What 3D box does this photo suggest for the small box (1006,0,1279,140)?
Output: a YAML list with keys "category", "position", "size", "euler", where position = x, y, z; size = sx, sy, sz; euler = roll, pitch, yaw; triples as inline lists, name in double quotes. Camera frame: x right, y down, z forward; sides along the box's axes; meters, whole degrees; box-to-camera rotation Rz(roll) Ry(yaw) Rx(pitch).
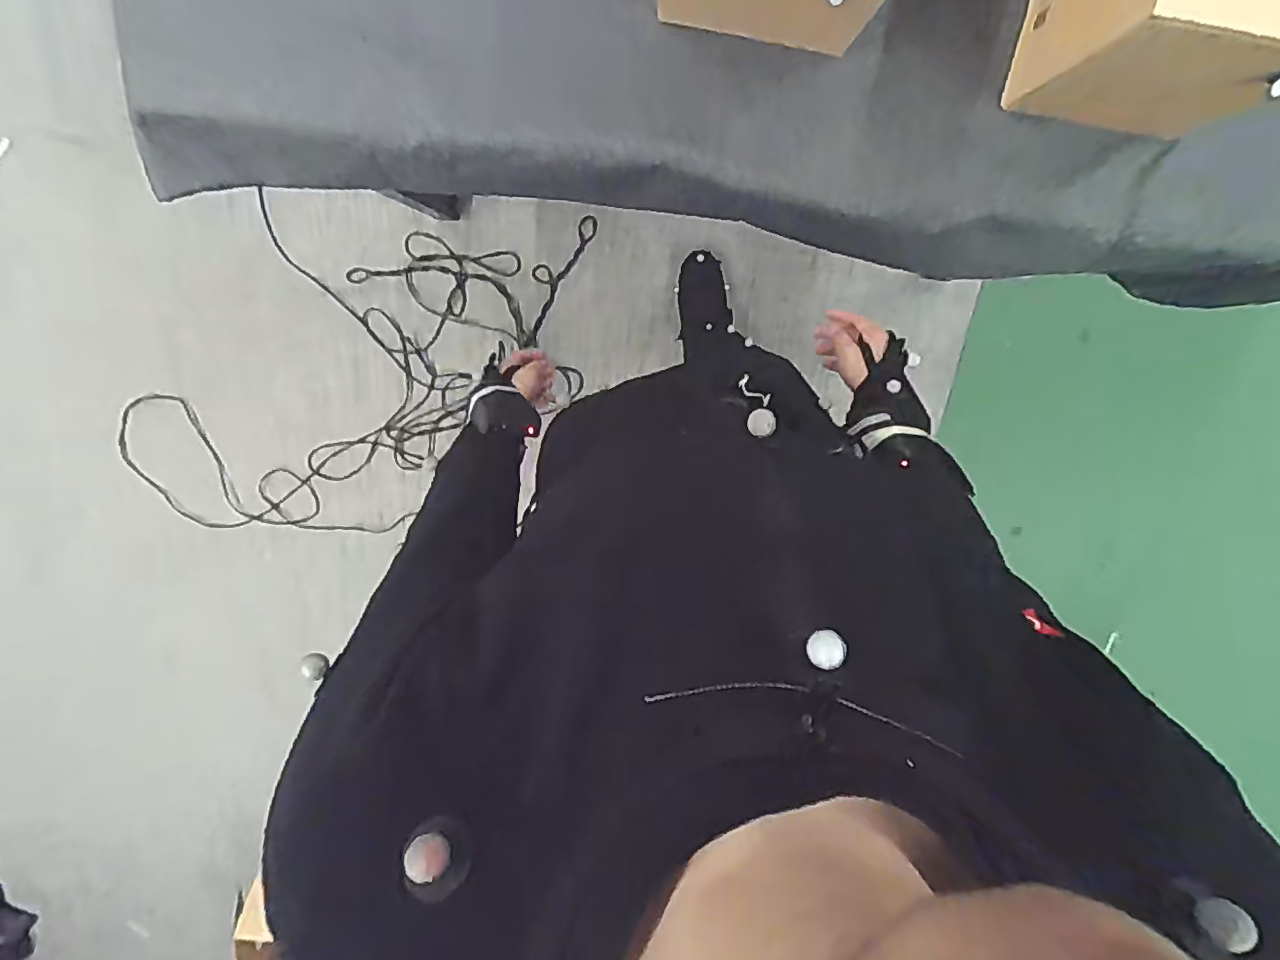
- category: "small box"
  position: [0.433, -0.388, 0.416]
  size: [0.179, 0.176, 0.168]
  euler: [8, 106, -3]
